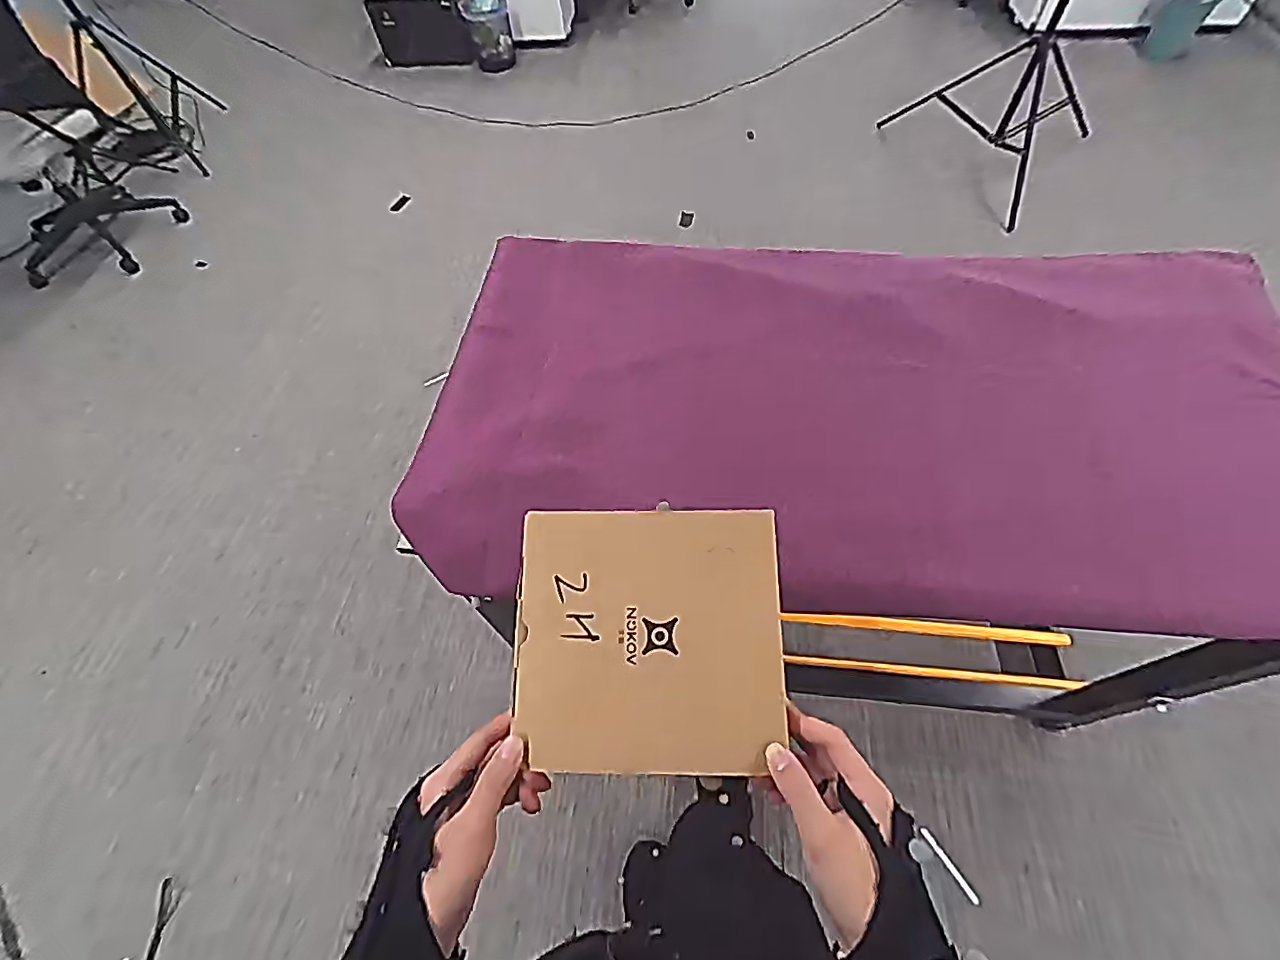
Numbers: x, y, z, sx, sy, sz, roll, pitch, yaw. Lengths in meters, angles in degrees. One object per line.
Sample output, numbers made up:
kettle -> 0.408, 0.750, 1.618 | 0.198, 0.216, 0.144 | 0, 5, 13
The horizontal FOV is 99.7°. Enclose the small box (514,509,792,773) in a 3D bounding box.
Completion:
small box -> 0.013, 0.122, 0.433 | 0.179, 0.176, 0.168 | 0, 73, 4
